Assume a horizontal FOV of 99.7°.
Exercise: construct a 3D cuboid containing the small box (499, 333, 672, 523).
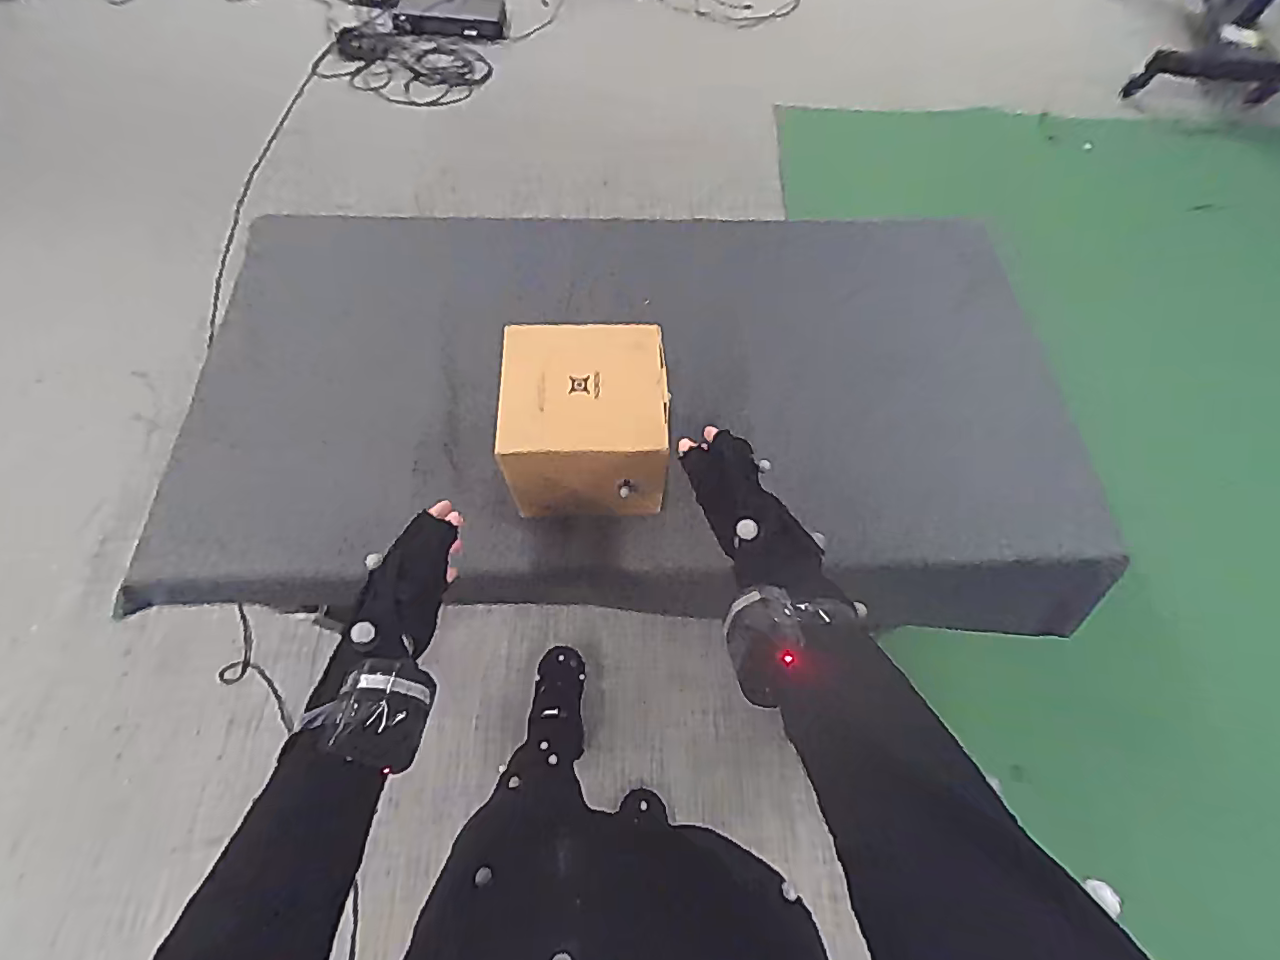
[{"bbox_3d":[-0.060,-0.055,0.647,0.179,0.176,0.168,-3,63,-2],"label":"small box"}]
